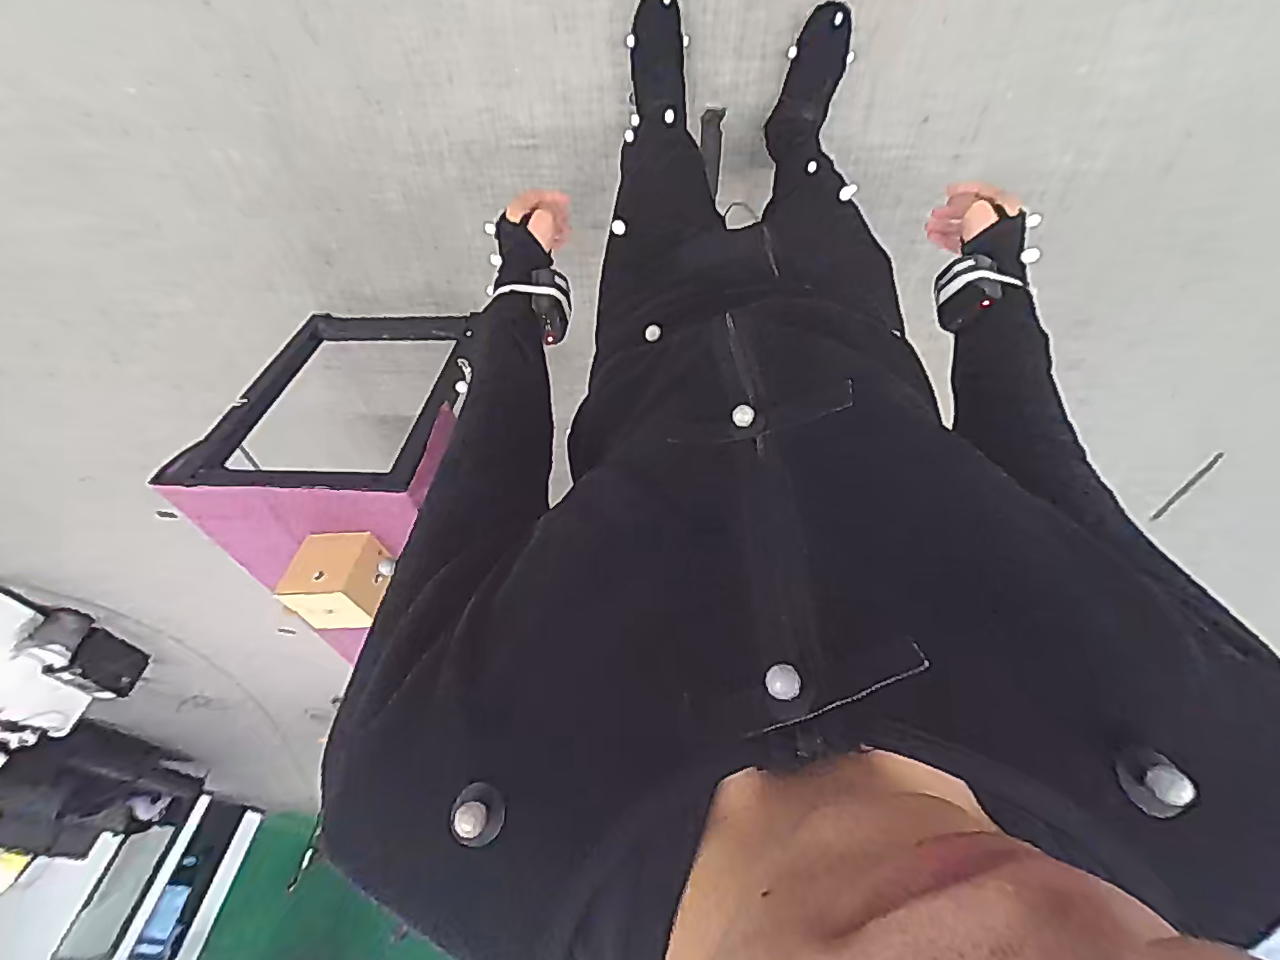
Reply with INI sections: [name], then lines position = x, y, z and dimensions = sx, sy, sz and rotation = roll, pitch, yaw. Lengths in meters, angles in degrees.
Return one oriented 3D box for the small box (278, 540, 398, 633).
[small box]
position = -0.717, 0.256, 1.315
dimensions = 0.179, 0.176, 0.168
rotation = -3, 138, 10
